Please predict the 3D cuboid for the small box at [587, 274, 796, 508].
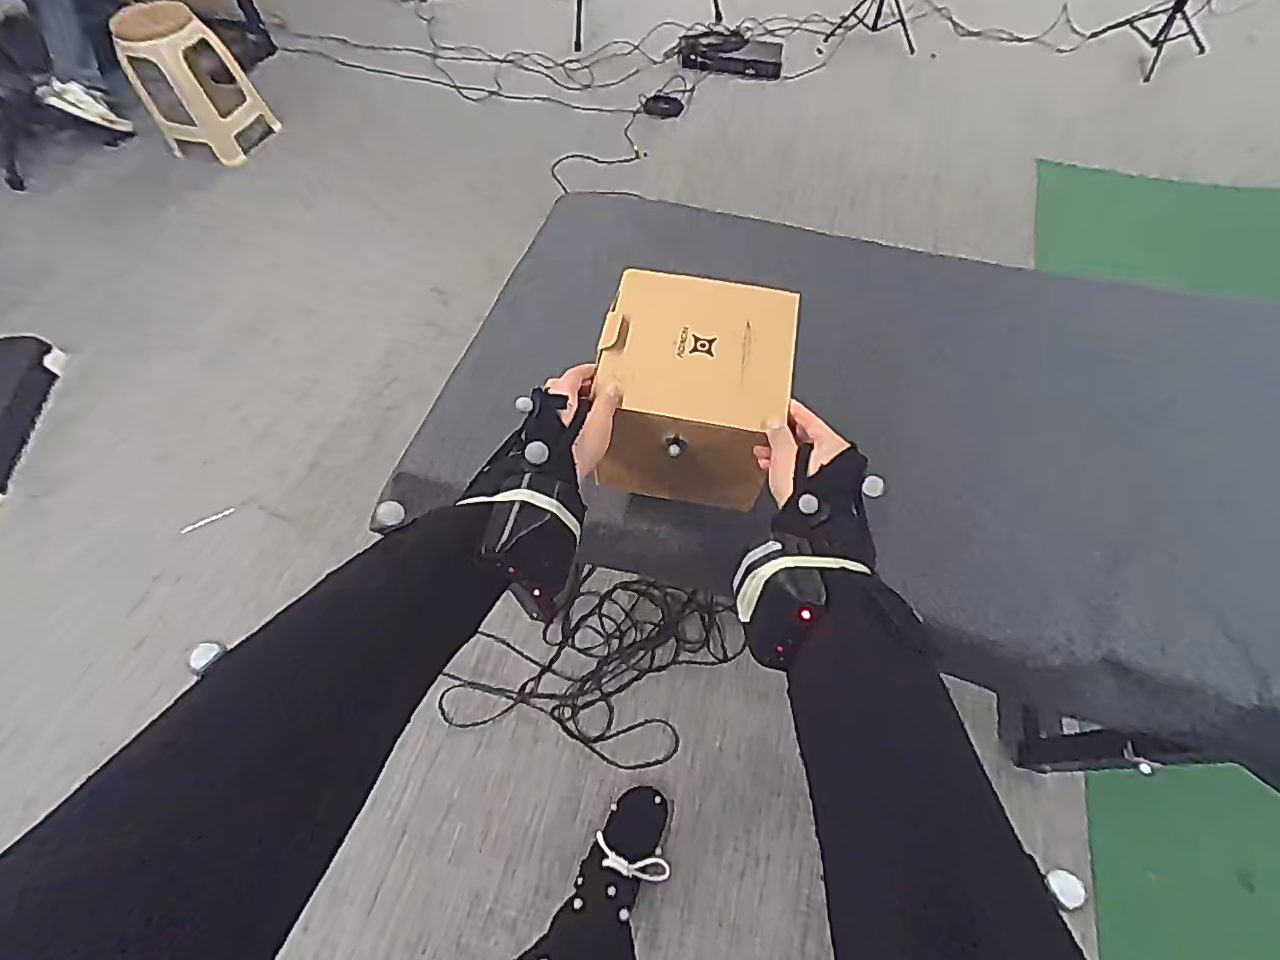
[{"bbox_3d":[0.051,-0.085,0.570,0.179,0.176,0.168,10,64,4],"label":"small box"}]
